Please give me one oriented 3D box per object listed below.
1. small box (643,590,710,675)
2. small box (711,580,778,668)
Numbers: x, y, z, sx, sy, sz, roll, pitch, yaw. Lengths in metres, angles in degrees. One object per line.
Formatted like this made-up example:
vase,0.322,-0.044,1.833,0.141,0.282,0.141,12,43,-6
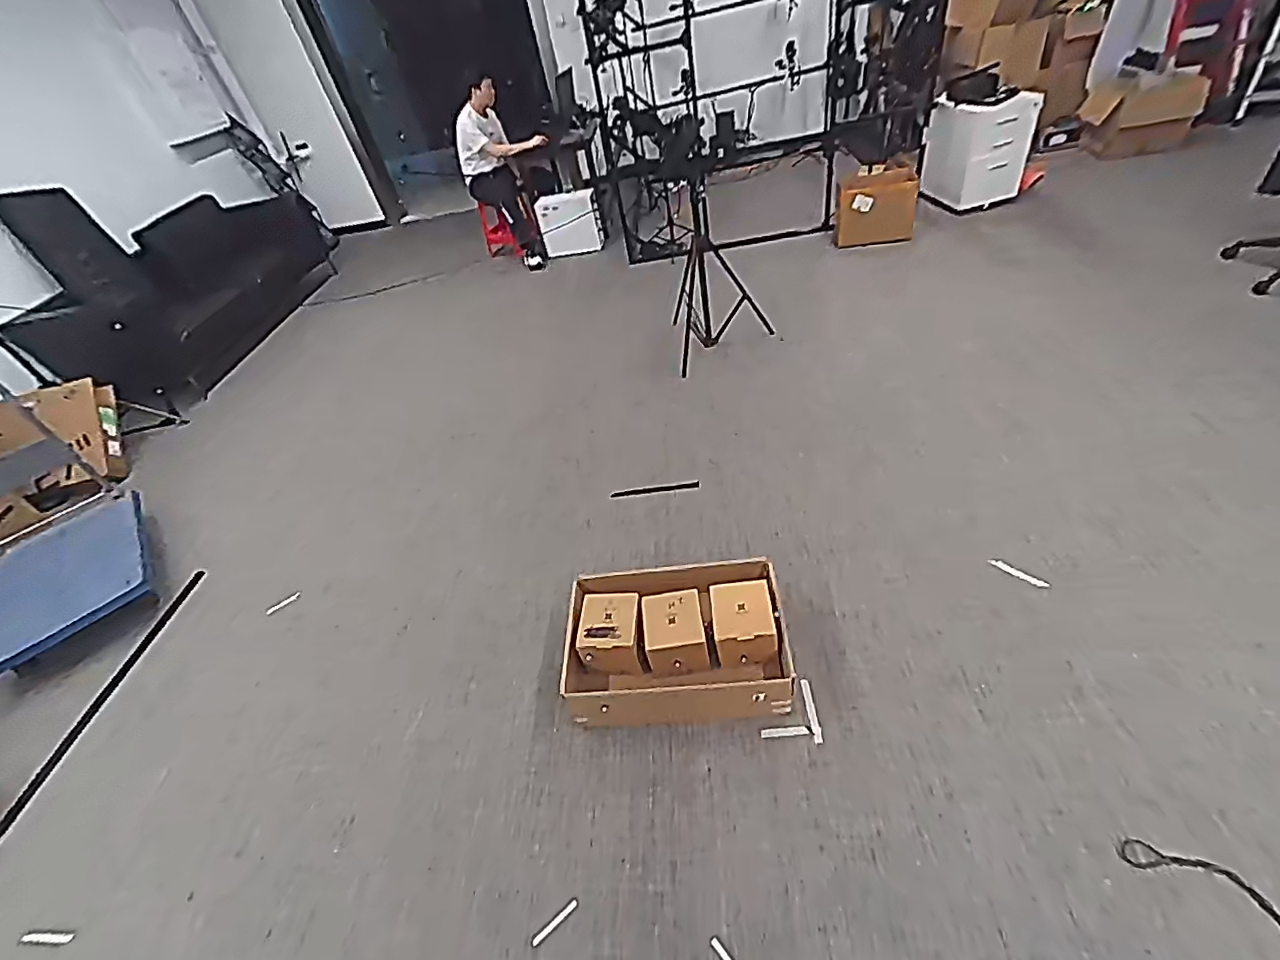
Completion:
small box,0.105,0.447,1.566,0.168,0.176,0.179,-9,42,4
small box,0.298,0.414,1.549,0.168,0.176,0.179,-9,43,9
